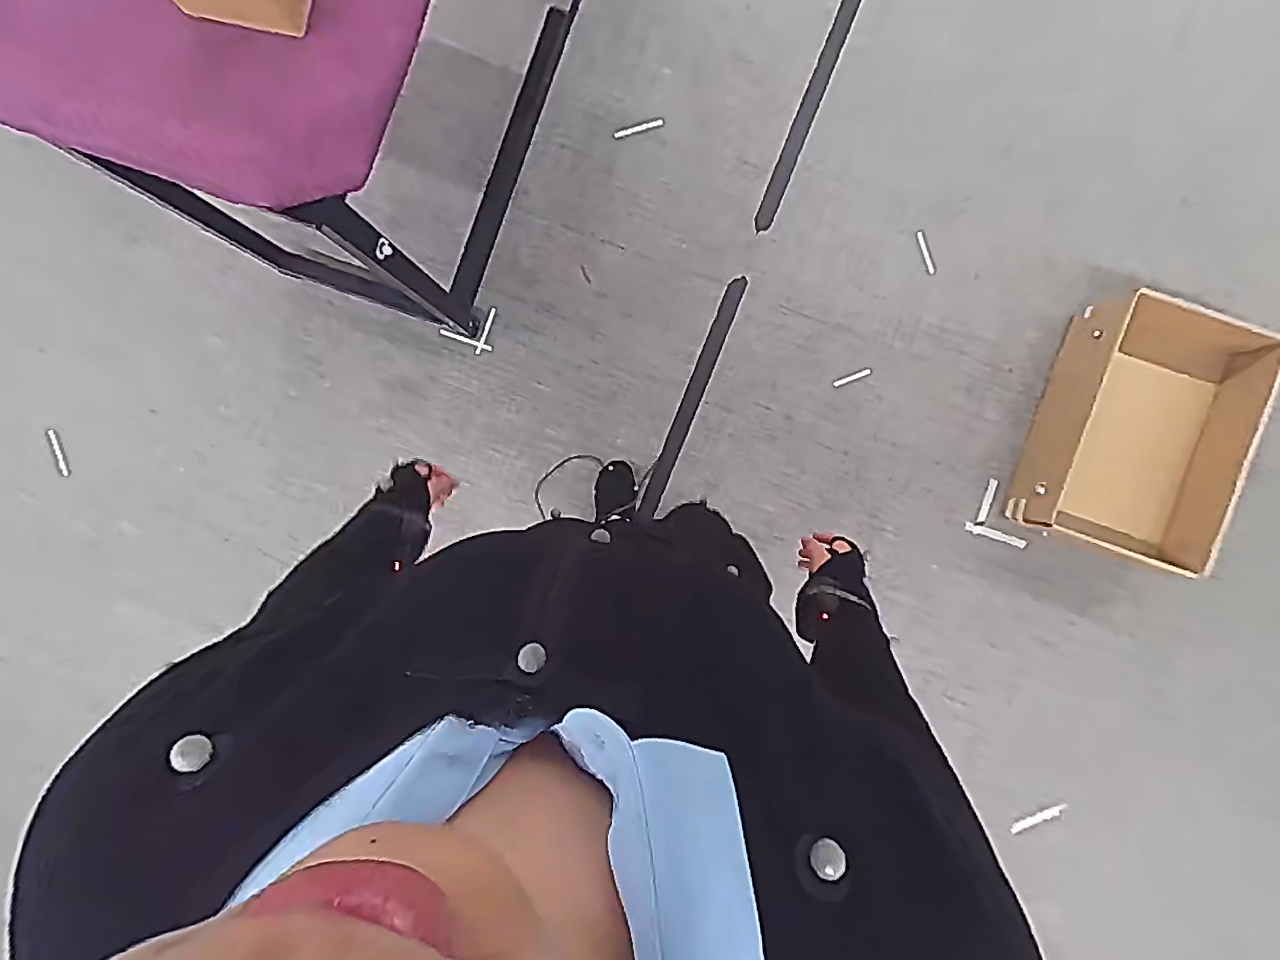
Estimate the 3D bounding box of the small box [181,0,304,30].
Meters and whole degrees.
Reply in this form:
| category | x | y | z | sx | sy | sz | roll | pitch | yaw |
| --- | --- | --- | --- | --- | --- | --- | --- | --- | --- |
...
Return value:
| category | x | y | z | sx | sy | sz | roll | pitch | yaw |
| --- | --- | --- | --- | --- | --- | --- | --- | --- | --- |
| small box | -0.544 | -0.726 | 0.685 | 0.179 | 0.176 | 0.168 | 12 | 90 | 1 |
